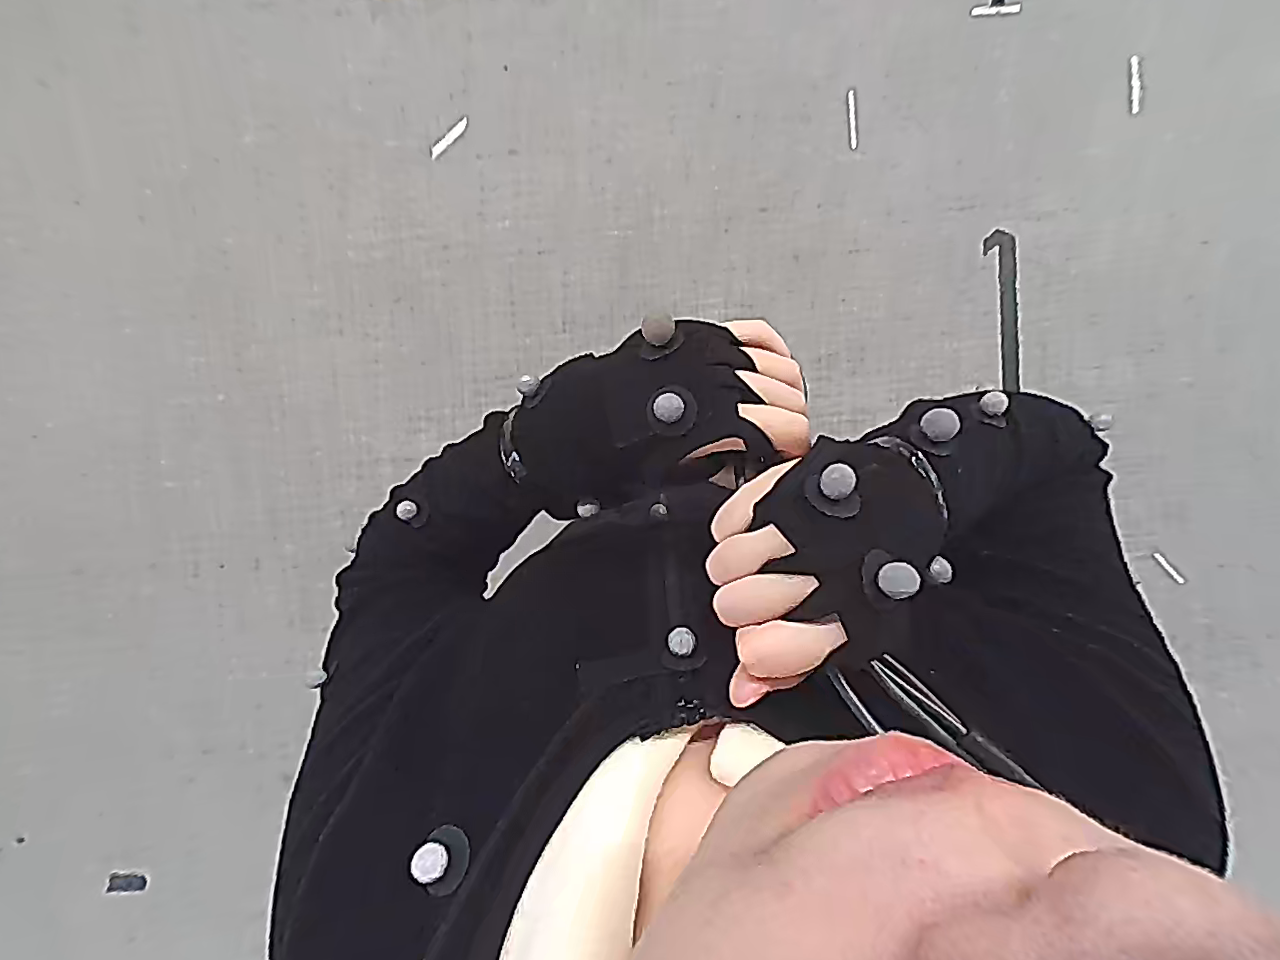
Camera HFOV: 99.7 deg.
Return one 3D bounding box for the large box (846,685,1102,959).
[{"bbox_3d":[0.713,0.737,1.212,0.320,0.320,0.408,15,92,-2],"label":"large box"}]
